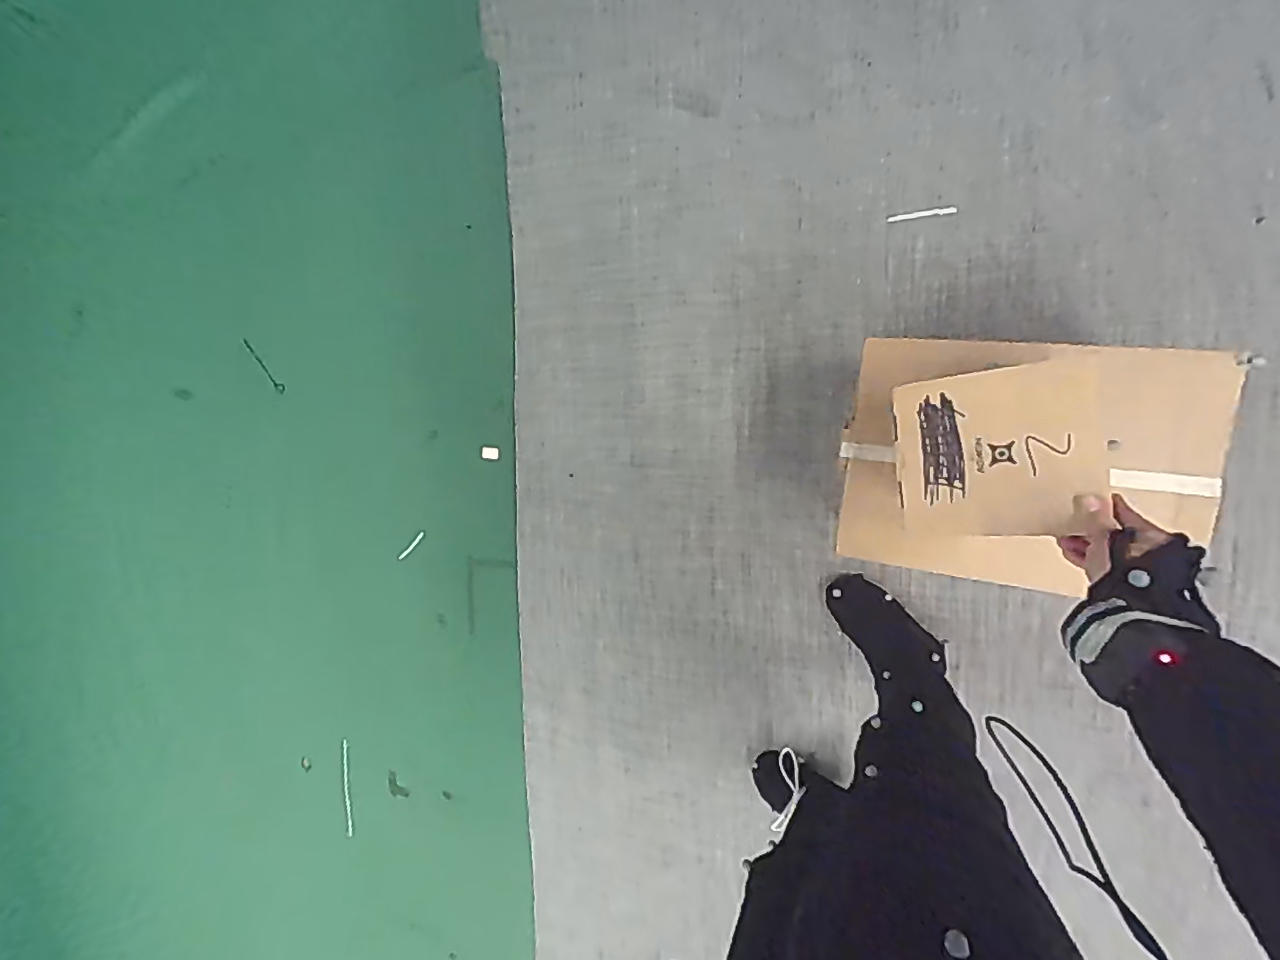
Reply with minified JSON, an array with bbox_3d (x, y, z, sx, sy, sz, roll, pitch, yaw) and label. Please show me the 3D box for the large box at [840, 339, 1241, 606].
[{"bbox_3d":[0.534,-0.031,0.831,0.408,0.320,0.320,7,98,20],"label":"large box"}]
